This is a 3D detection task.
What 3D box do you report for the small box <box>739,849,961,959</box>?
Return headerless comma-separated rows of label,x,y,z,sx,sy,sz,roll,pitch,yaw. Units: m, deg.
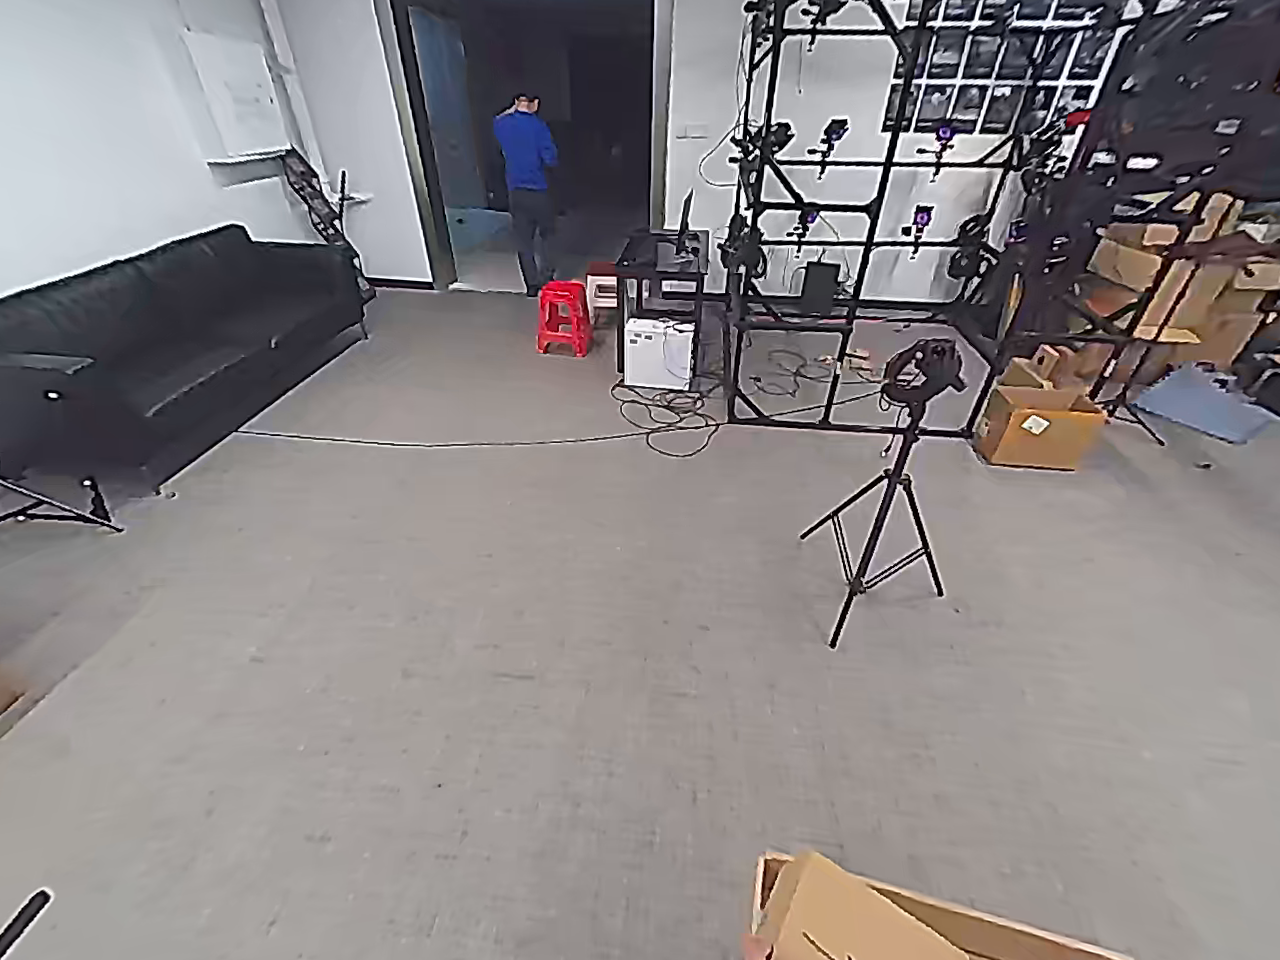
small box,0.223,0.568,0.617,0.179,0.176,0.168,27,53,22
